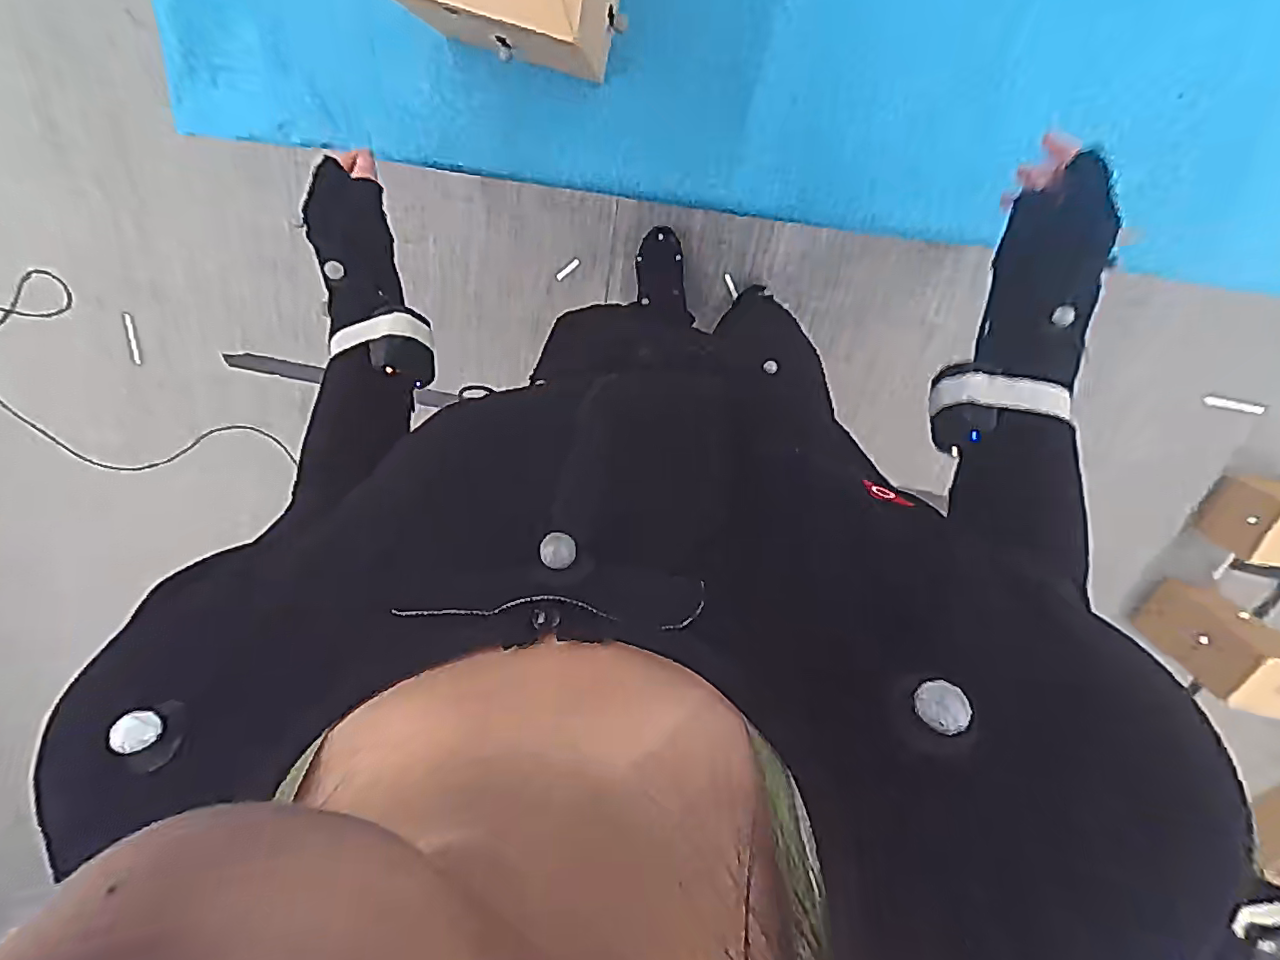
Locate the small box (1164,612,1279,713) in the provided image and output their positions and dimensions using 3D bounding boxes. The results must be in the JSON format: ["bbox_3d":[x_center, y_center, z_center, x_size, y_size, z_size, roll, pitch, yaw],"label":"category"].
[{"bbox_3d":[1.560,0.471,1.414,0.179,0.176,0.168,14,115,-1],"label":"small box"}]

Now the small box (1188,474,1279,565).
[{"bbox_3d":[1.610,0.100,1.407,0.168,0.176,0.179,7,117,1],"label":"small box"}]

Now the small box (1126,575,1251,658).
[{"bbox_3d":[1.574,0.407,1.564,0.168,0.176,0.179,14,118,-3],"label":"small box"}]

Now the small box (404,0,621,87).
[{"bbox_3d":[-0.099,-0.463,0.443,0.168,0.176,0.179,14,117,-4],"label":"small box"}]
